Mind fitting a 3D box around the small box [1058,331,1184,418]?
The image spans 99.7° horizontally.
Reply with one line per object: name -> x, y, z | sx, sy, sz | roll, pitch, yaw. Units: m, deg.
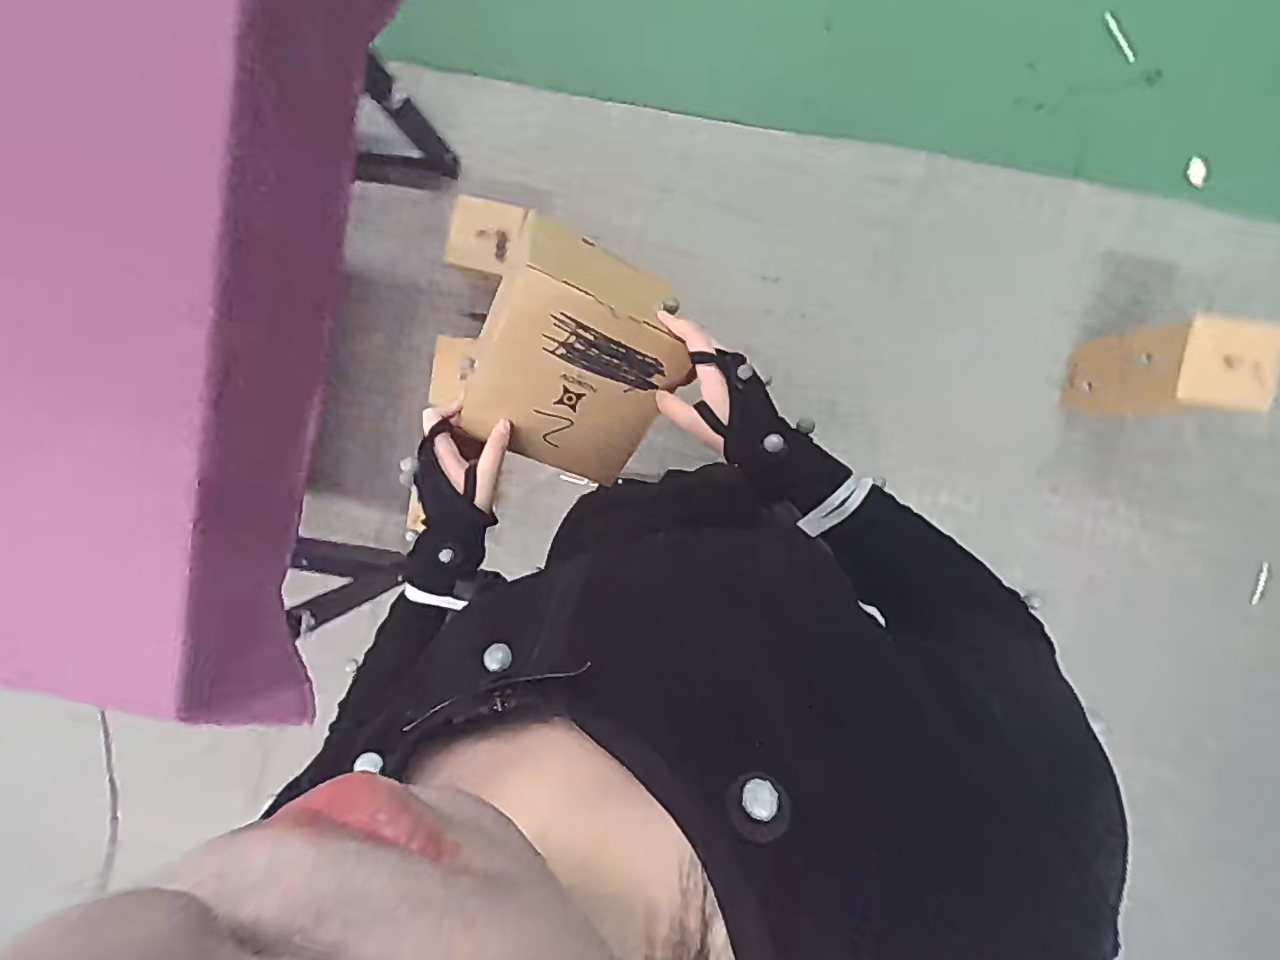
small box -> 1.149, -0.242, 1.284 | 0.179, 0.176, 0.168 | 11, 96, 3

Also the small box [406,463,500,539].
small box -> -0.491, 0.049, 1.444 | 0.179, 0.176, 0.168 | 11, 93, 3

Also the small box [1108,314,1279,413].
small box -> 1.133, -0.232, 1.120 | 0.179, 0.176, 0.168 | 10, 96, 4

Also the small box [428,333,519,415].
small box -> -0.429, -0.270, 1.417 | 0.168, 0.176, 0.179 | 10, 95, 4
